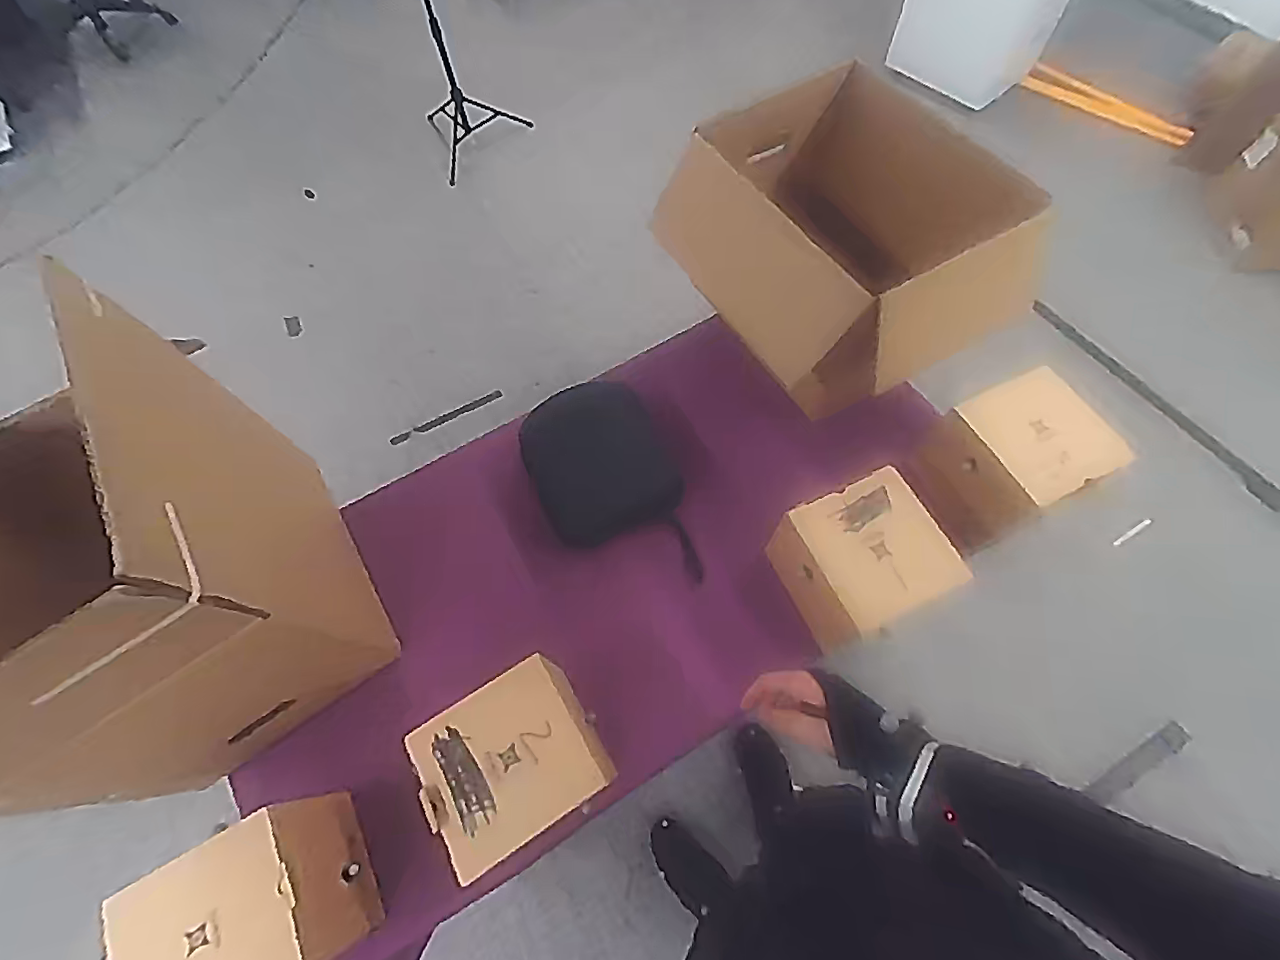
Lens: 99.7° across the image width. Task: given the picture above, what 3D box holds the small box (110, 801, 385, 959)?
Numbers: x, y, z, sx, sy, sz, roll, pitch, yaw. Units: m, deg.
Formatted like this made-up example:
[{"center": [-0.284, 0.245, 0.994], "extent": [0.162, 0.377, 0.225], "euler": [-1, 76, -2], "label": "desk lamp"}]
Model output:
[{"center": [-0.429, 0.497, 0.613], "extent": [0.179, 0.176, 0.168], "euler": [-29, 66, -11], "label": "small box"}]

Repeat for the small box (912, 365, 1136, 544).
[{"center": [0.547, -0.031, 0.804], "extent": [0.168, 0.176, 0.179], "euler": [-24, 65, -7], "label": "small box"}]
